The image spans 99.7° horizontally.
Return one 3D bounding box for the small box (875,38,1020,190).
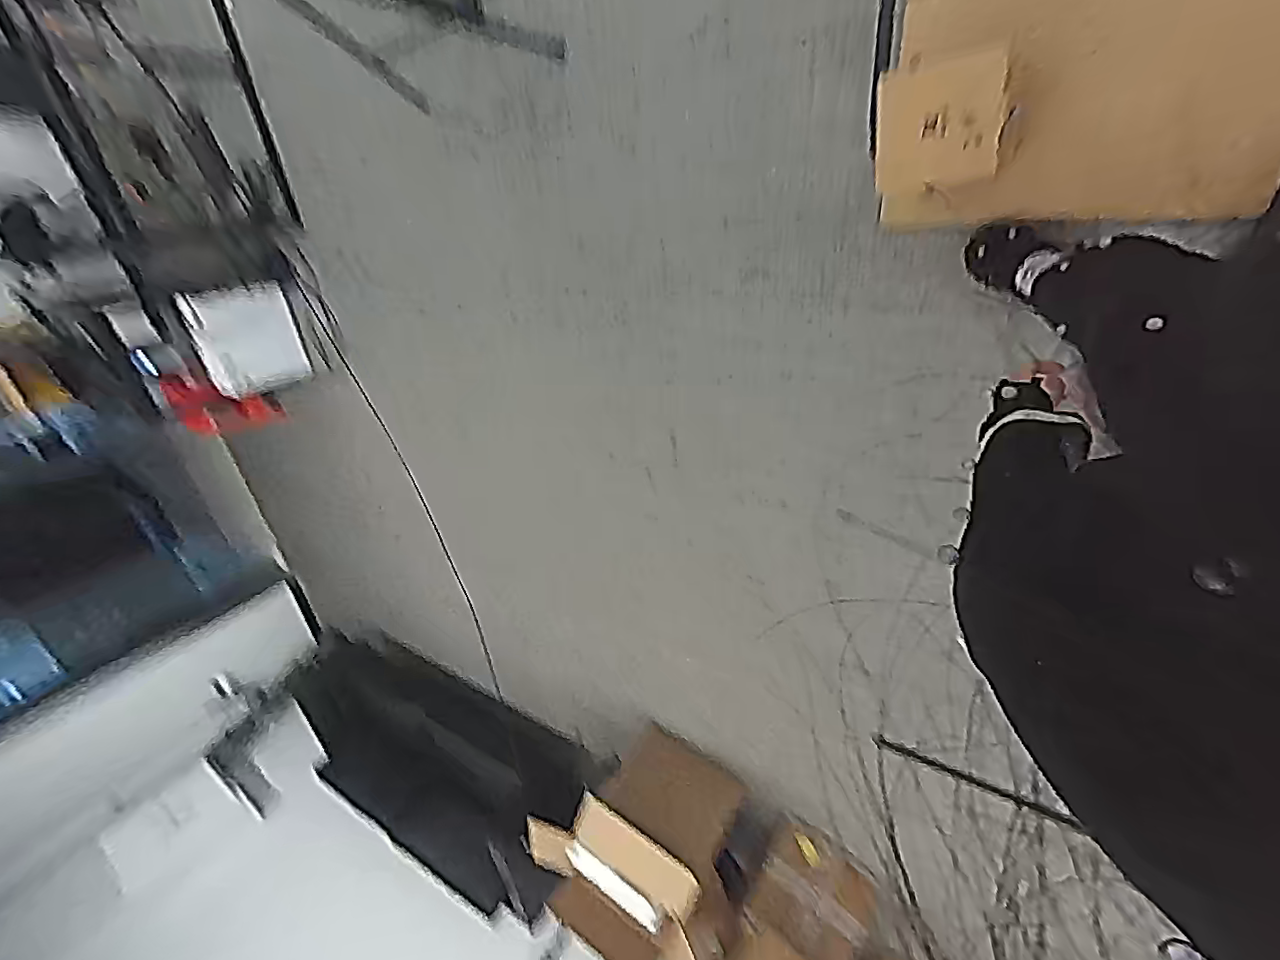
[{"bbox_3d":[0.494,-0.579,0.874,0.179,0.176,0.168,8,123,35],"label":"small box"}]
